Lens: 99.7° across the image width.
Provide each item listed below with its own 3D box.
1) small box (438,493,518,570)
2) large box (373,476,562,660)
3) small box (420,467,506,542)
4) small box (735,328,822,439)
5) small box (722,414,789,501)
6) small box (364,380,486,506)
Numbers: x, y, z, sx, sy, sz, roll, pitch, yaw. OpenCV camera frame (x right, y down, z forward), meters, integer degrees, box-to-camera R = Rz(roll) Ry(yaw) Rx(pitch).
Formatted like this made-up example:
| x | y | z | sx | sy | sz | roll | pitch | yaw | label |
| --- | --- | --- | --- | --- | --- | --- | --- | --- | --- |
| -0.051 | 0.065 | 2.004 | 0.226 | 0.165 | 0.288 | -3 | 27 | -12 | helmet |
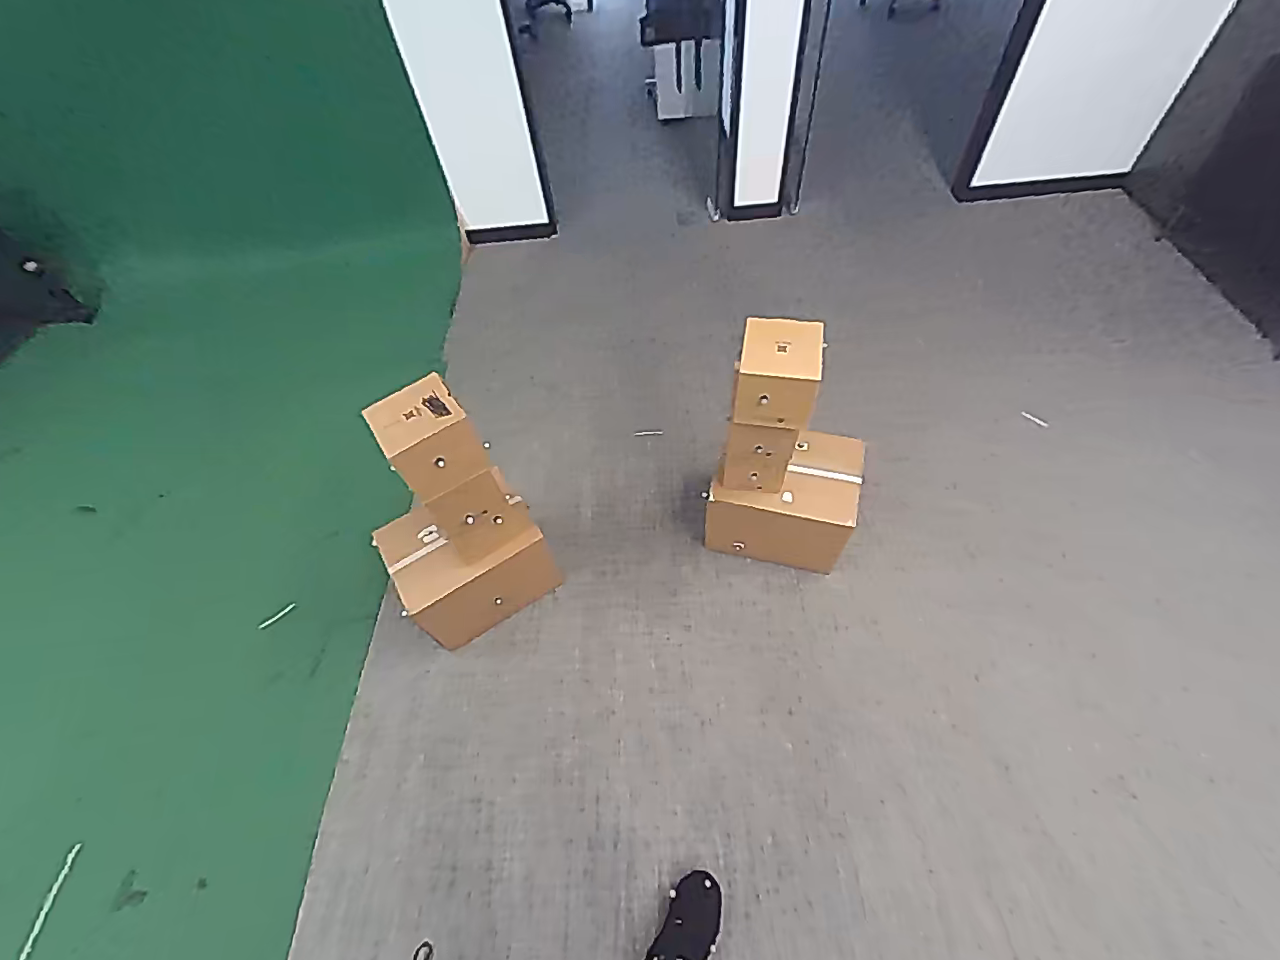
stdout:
| x | y | z | sx | sy | sz | roll | pitch | yaw | label |
| --- | --- | --- | --- | --- | --- | --- | --- | --- | --- |
| -0.444 | 0.107 | 1.445 | 0.179 | 0.176 | 0.168 | -31 | 57 | -16 | small box |
| -0.504 | 0.266 | 1.639 | 0.408 | 0.320 | 0.320 | -31 | 56 | -16 | large box |
| -0.449 | 0.016 | 1.310 | 0.168 | 0.176 | 0.179 | -30 | 58 | -15 | small box |
| 0.306 | -0.213 | 1.212 | 0.168 | 0.176 | 0.179 | 8 | 56 | 10 | small box |
| 0.319 | -0.058 | 1.502 | 0.168 | 0.176 | 0.179 | 6 | 56 | 8 | small box |
| -0.455 | -0.077 | 1.176 | 0.179 | 0.176 | 0.168 | -32 | 58 | -15 | small box |
